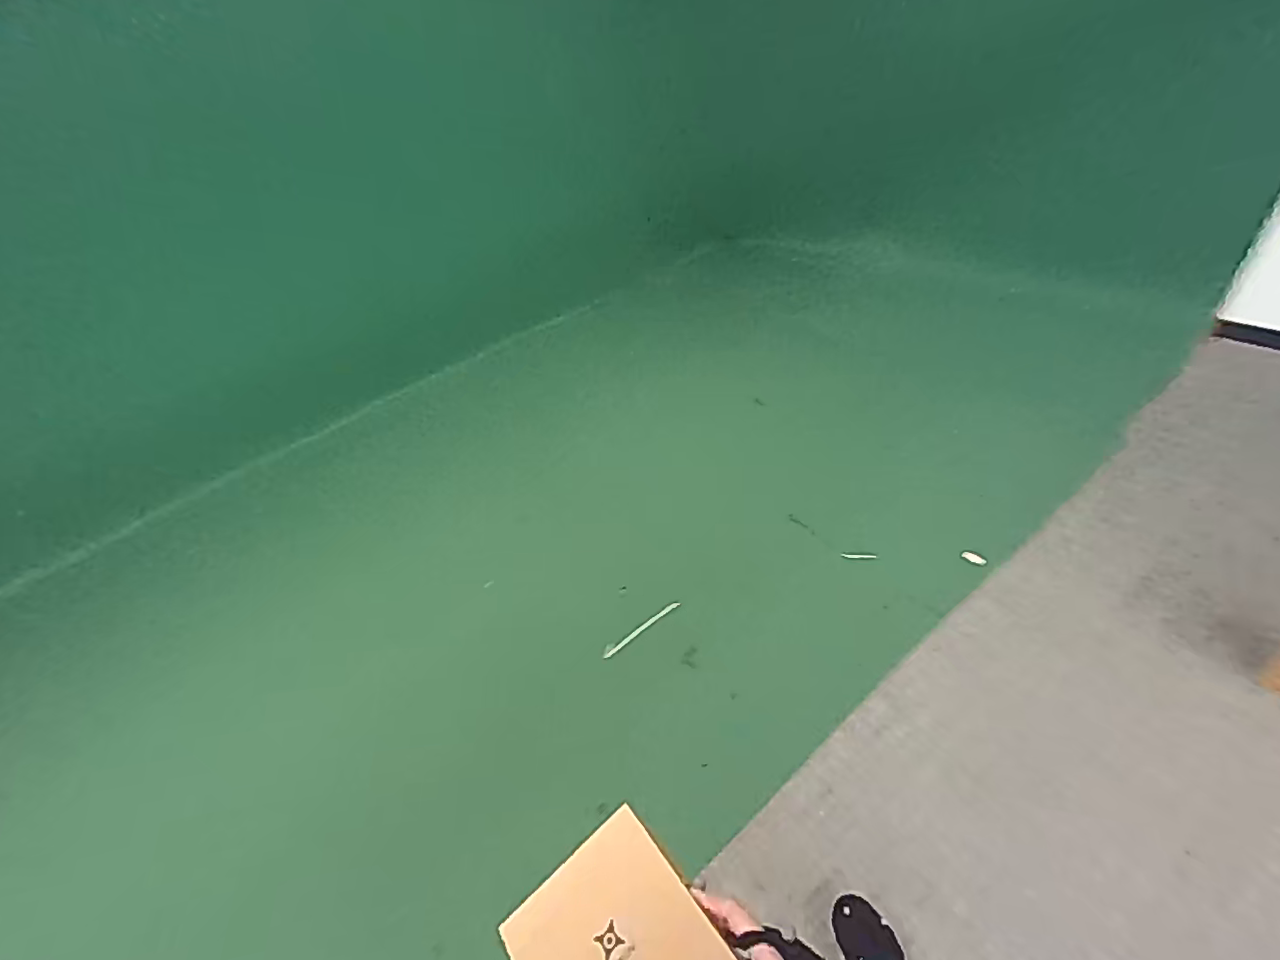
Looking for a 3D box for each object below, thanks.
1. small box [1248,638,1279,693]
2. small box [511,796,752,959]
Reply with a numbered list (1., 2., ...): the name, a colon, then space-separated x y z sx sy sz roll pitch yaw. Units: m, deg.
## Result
1. small box: 1.723 0.474 1.366 0.168 0.176 0.179 -30 45 -16
2. small box: 0.001 0.477 0.550 0.168 0.176 0.179 -35 44 -19
